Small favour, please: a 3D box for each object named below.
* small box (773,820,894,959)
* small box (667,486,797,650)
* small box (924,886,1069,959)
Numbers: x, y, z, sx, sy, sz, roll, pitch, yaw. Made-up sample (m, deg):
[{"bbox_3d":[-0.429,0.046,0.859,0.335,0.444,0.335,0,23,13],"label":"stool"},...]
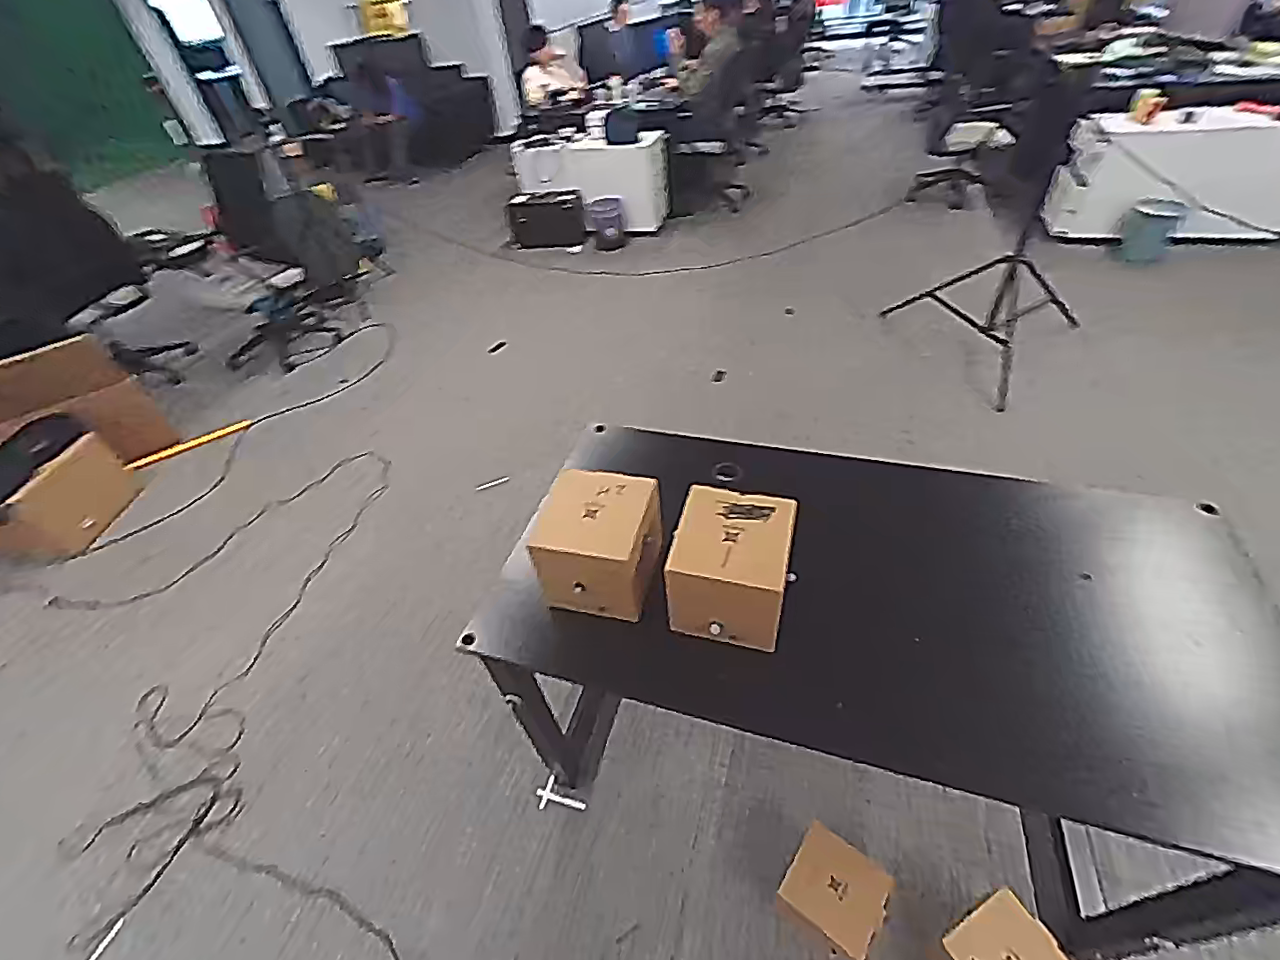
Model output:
[{"bbox_3d":[0.396,0.862,1.127,0.179,0.176,0.168,26,52,31],"label":"small box"},{"bbox_3d":[0.146,0.137,0.855,0.168,0.176,0.179,8,47,16],"label":"small box"},{"bbox_3d":[0.676,0.920,1.024,0.179,0.176,0.168,-24,46,-16],"label":"small box"}]
